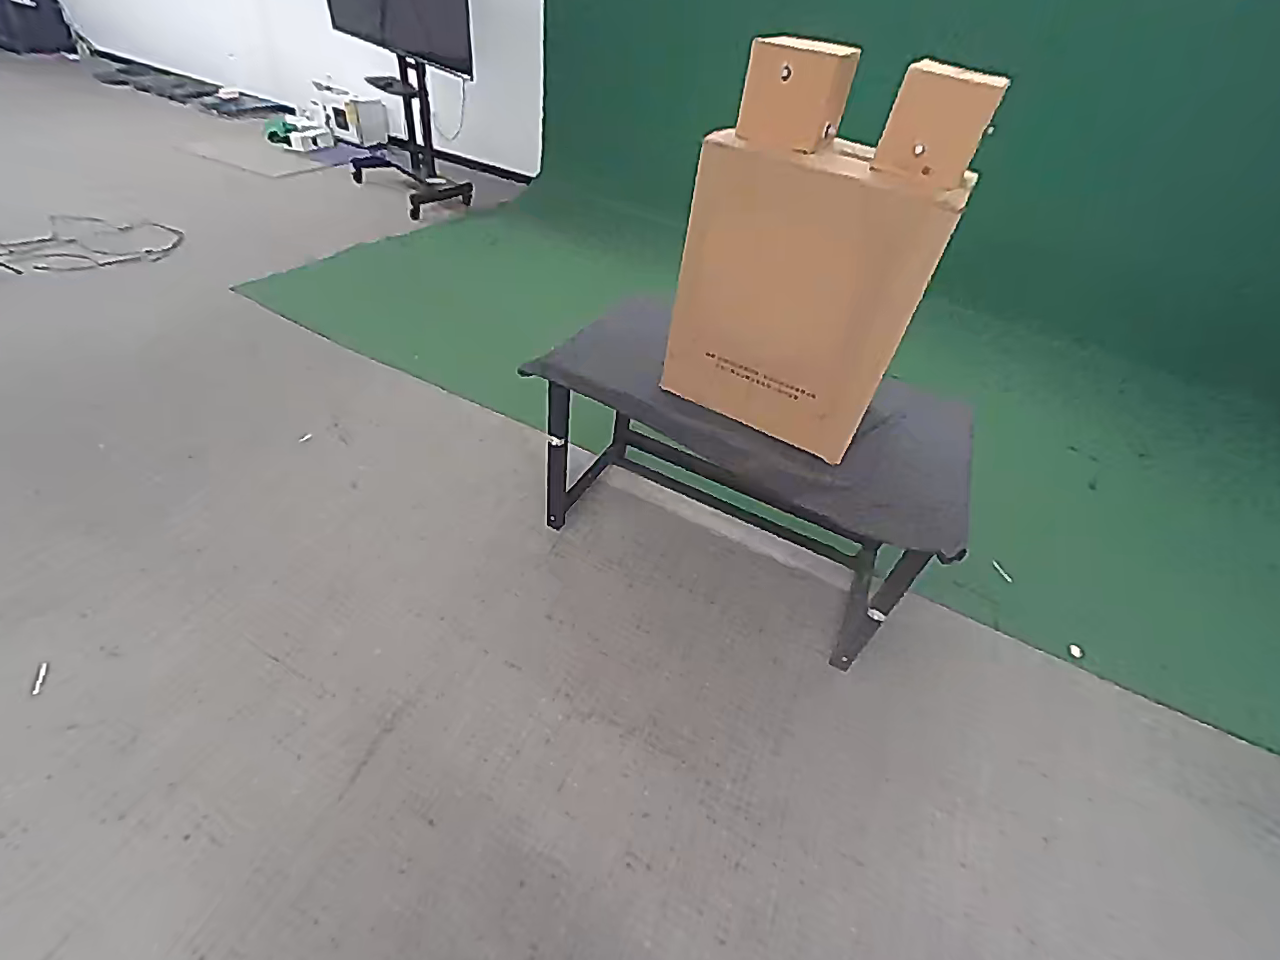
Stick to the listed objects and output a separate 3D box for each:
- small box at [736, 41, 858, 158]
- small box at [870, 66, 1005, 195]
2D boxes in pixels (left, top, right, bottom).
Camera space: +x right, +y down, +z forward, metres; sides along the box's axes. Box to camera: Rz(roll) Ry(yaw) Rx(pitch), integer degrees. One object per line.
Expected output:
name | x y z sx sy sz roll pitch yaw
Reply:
small box | 0.323 -0.798 1.136 0.179 0.176 0.168 28 48 17
small box | 0.577 -0.685 1.059 0.168 0.176 0.179 28 48 16
